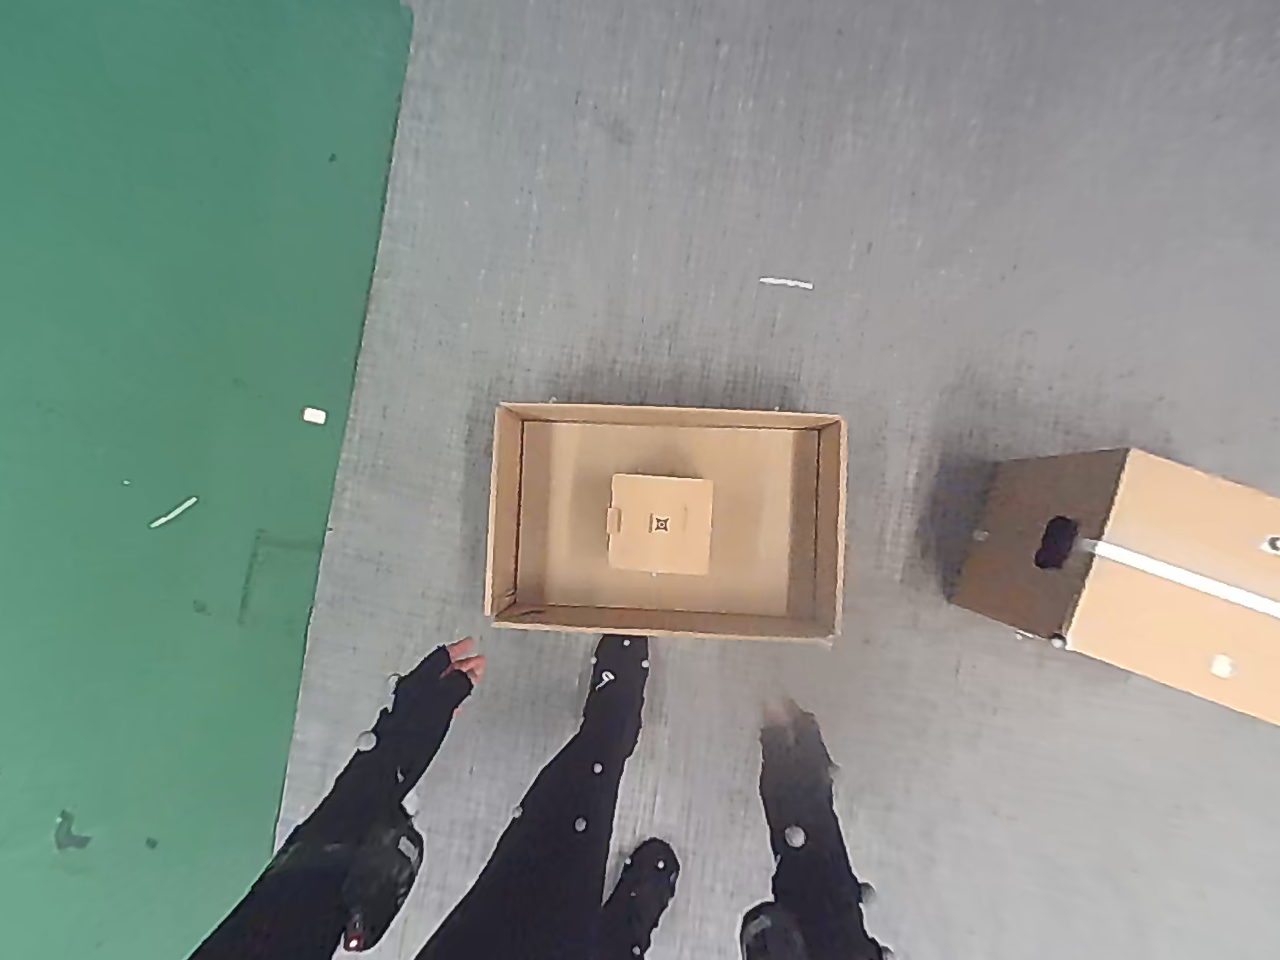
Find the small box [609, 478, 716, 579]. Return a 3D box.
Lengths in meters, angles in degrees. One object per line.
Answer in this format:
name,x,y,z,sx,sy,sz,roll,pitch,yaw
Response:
small box,0.041,0.085,0.998,0.179,0.176,0.168,3,89,2
